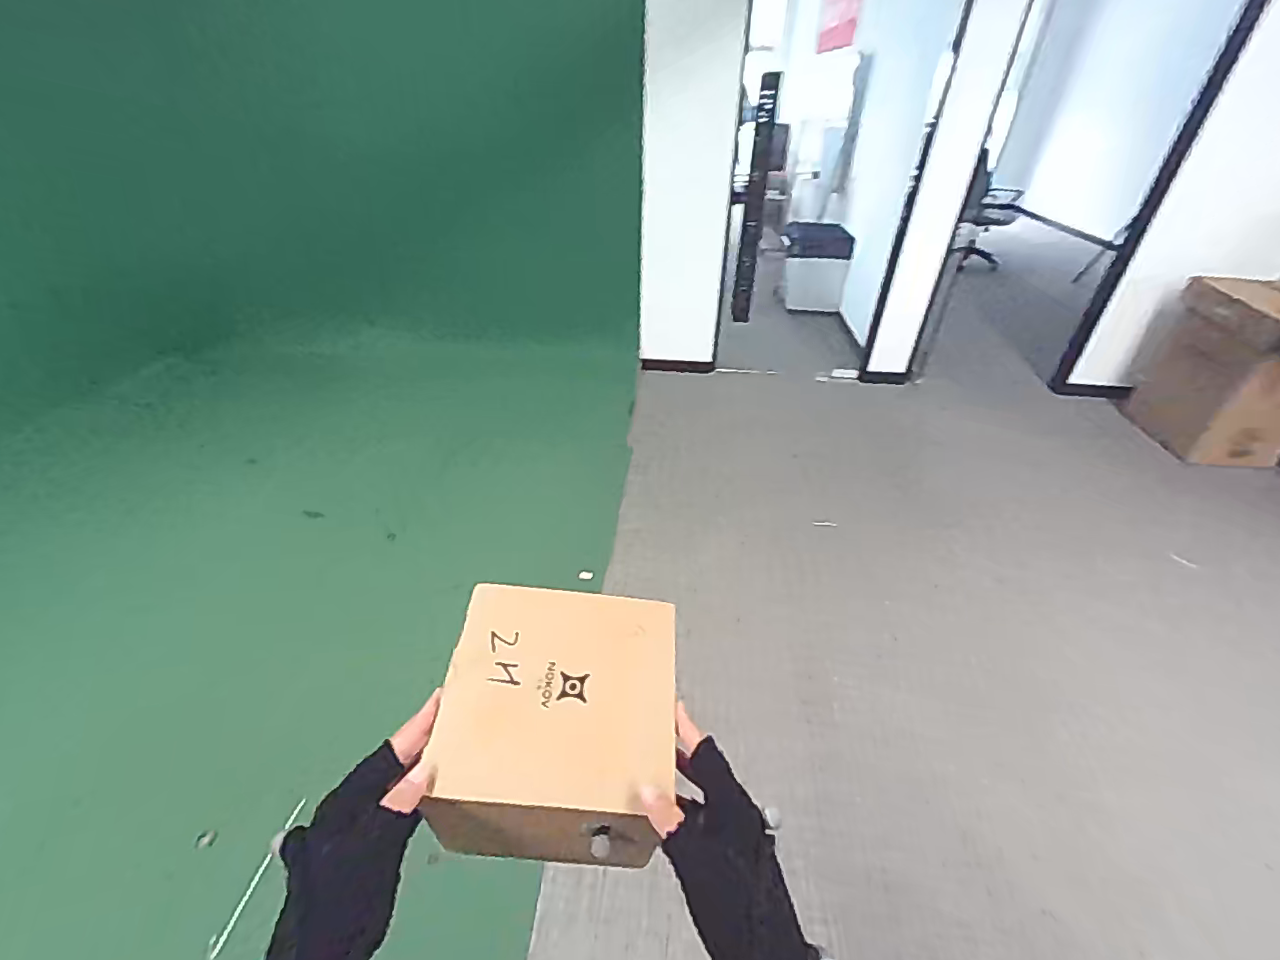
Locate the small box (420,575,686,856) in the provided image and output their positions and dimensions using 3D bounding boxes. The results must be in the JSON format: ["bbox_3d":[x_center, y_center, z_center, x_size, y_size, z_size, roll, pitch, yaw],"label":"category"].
[{"bbox_3d":[-0.061,0.205,0.465,0.179,0.176,0.168,7,44,-2],"label":"small box"}]
